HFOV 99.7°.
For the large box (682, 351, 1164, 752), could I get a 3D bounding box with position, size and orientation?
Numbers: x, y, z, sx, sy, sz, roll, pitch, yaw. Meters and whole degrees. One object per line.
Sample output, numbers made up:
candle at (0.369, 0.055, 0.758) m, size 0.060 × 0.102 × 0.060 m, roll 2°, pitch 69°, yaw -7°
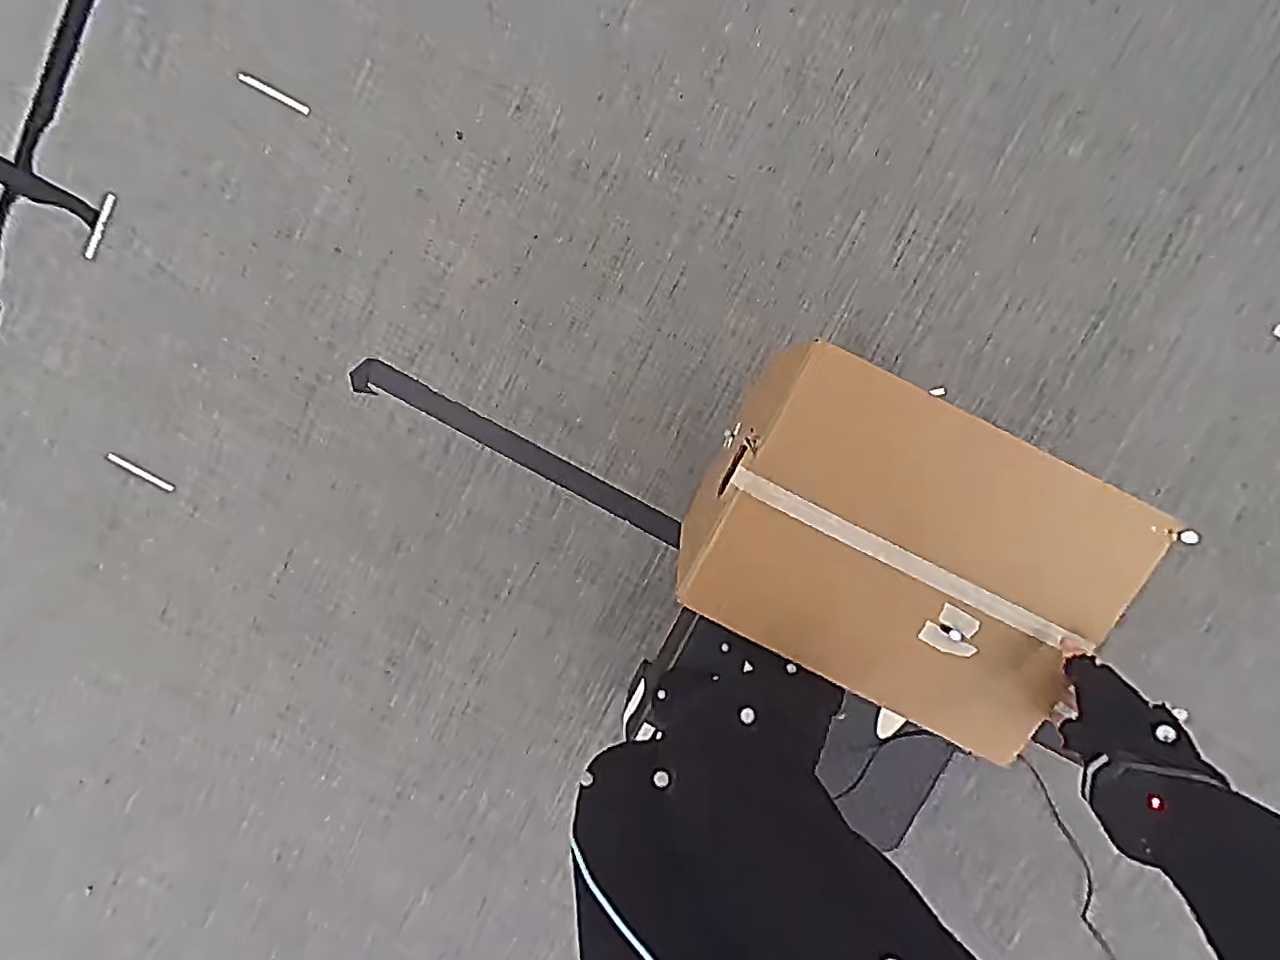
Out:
large box at (0.296, 0.060, 0.716) m, size 0.408 × 0.320 × 0.320 m, roll 26°, pitch 102°, yaw 0°
